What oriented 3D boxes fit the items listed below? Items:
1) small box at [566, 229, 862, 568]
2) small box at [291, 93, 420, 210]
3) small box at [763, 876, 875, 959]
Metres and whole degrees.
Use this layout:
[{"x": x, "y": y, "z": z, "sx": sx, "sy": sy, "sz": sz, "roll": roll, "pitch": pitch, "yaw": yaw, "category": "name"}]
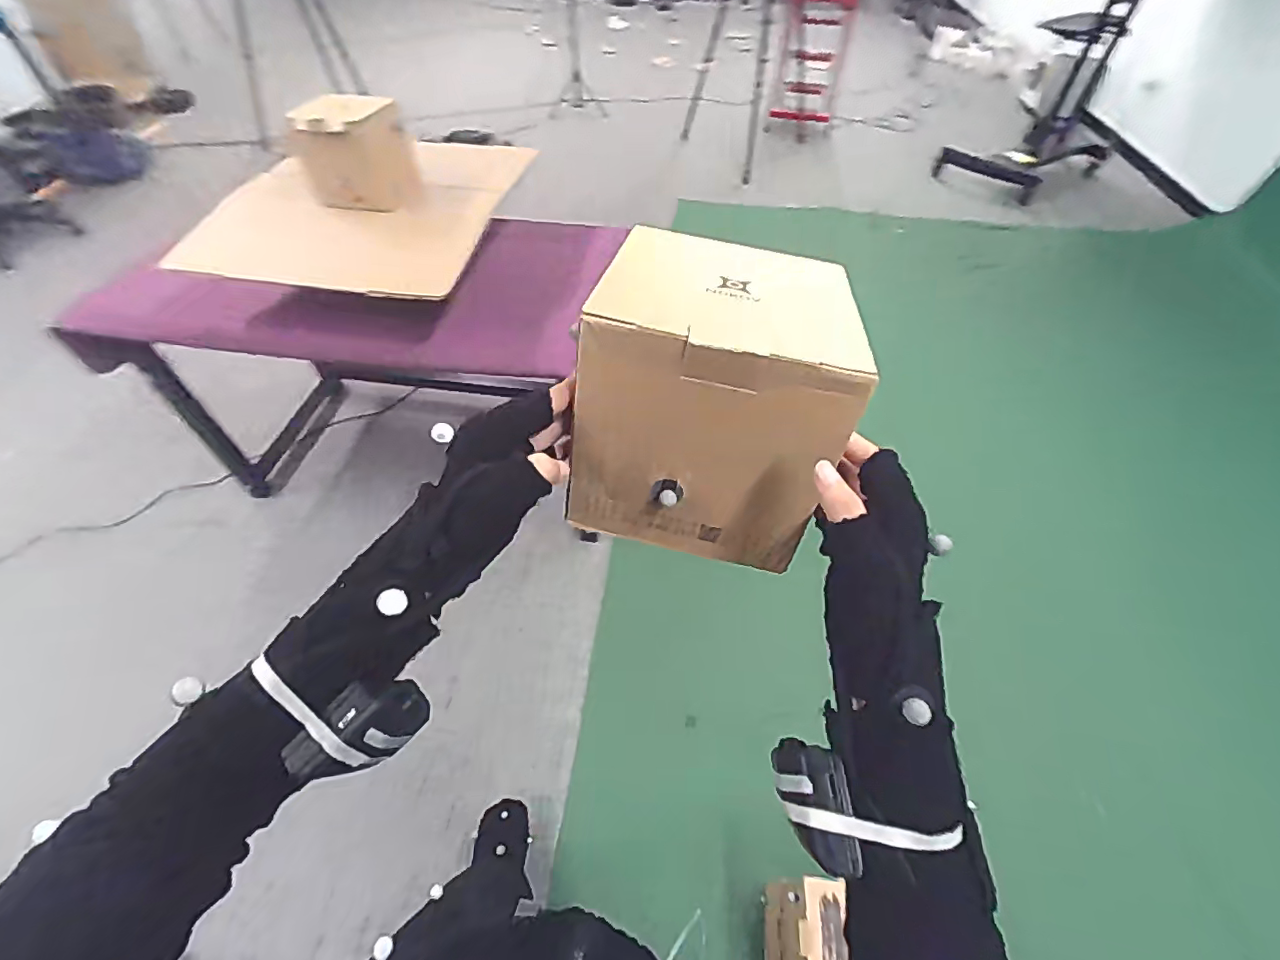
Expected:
[{"x": 0.043, "y": -0.064, "z": 0.410, "sx": 0.168, "sy": 0.176, "sz": 0.179, "roll": 12, "pitch": 42, "yaw": 2, "category": "small box"}, {"x": -0.604, "y": -0.717, "z": 1.182, "sx": 0.168, "sy": 0.176, "sz": 0.179, "roll": 8, "pitch": 50, "yaw": 6, "category": "small box"}, {"x": 0.342, "y": 0.897, "z": 1.057, "sx": 0.179, "sy": 0.176, "sz": 0.168, "roll": 8, "pitch": 52, "yaw": 5, "category": "small box"}]
